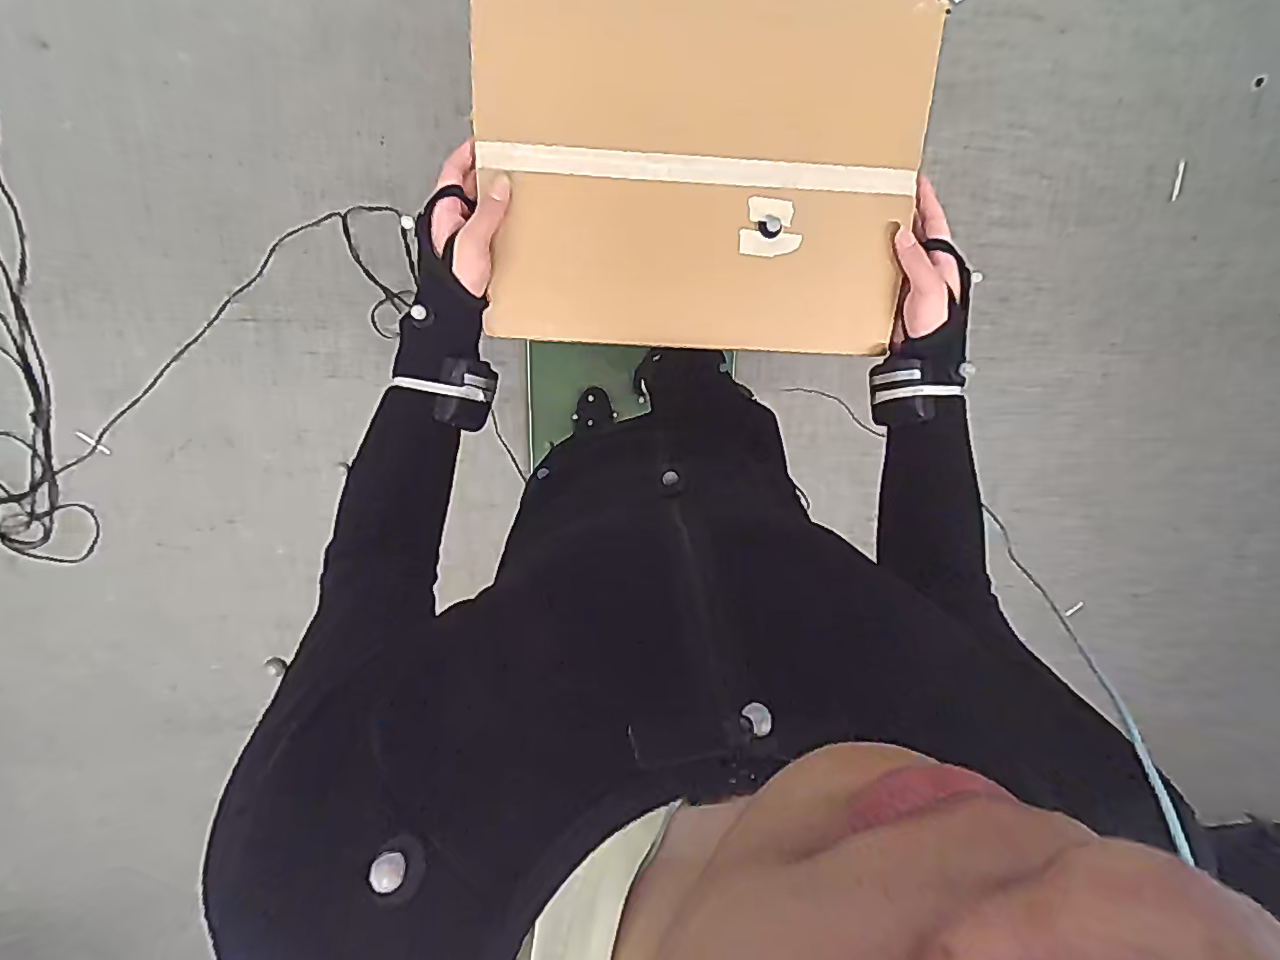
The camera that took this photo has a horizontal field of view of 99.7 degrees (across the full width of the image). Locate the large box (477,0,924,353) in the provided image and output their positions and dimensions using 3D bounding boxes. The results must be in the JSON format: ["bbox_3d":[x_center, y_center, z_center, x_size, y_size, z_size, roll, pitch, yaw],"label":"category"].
[{"bbox_3d":[0.042,-0.322,0.651,0.408,0.320,0.320,1,106,-4],"label":"large box"}]
